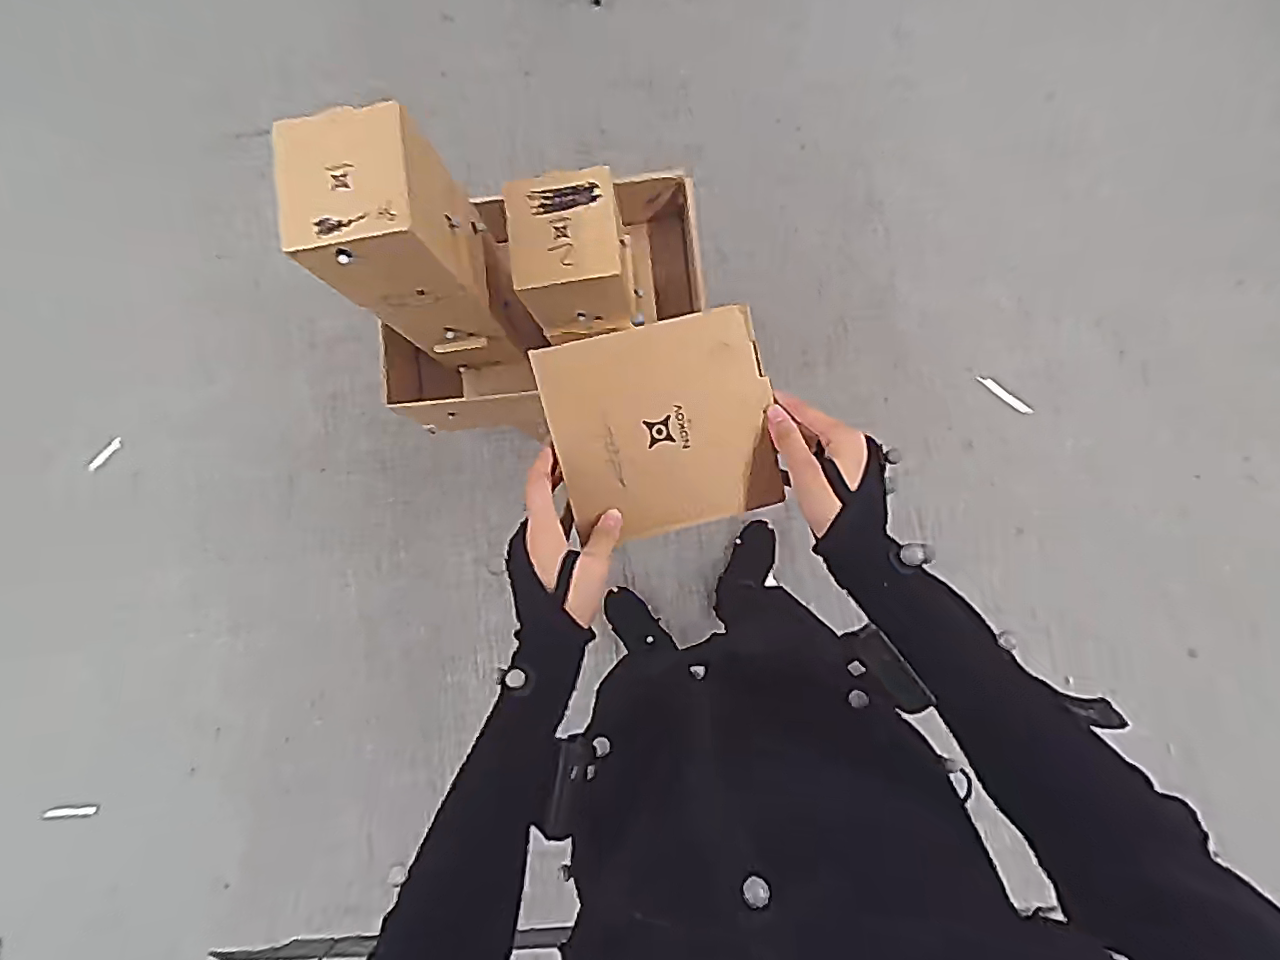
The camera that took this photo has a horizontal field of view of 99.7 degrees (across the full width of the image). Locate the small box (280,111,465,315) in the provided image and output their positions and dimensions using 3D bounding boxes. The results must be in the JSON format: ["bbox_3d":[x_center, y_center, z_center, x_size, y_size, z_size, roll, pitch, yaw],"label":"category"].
[{"bbox_3d":[-0.356,-0.353,0.742,0.168,0.176,0.179,-8,82,4],"label":"small box"}]

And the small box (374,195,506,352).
[{"bbox_3d":[-0.335,-0.335,0.904,0.168,0.176,0.179,-8,84,4],"label":"small box"}]

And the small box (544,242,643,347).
[{"bbox_3d":[-0.084,-0.331,1.050,0.168,0.176,0.179,-4,84,6],"label":"small box"}]

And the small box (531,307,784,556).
[{"bbox_3d":[0.008,-0.049,0.502,0.179,0.176,0.168,-15,100,-5],"label":"small box"}]
